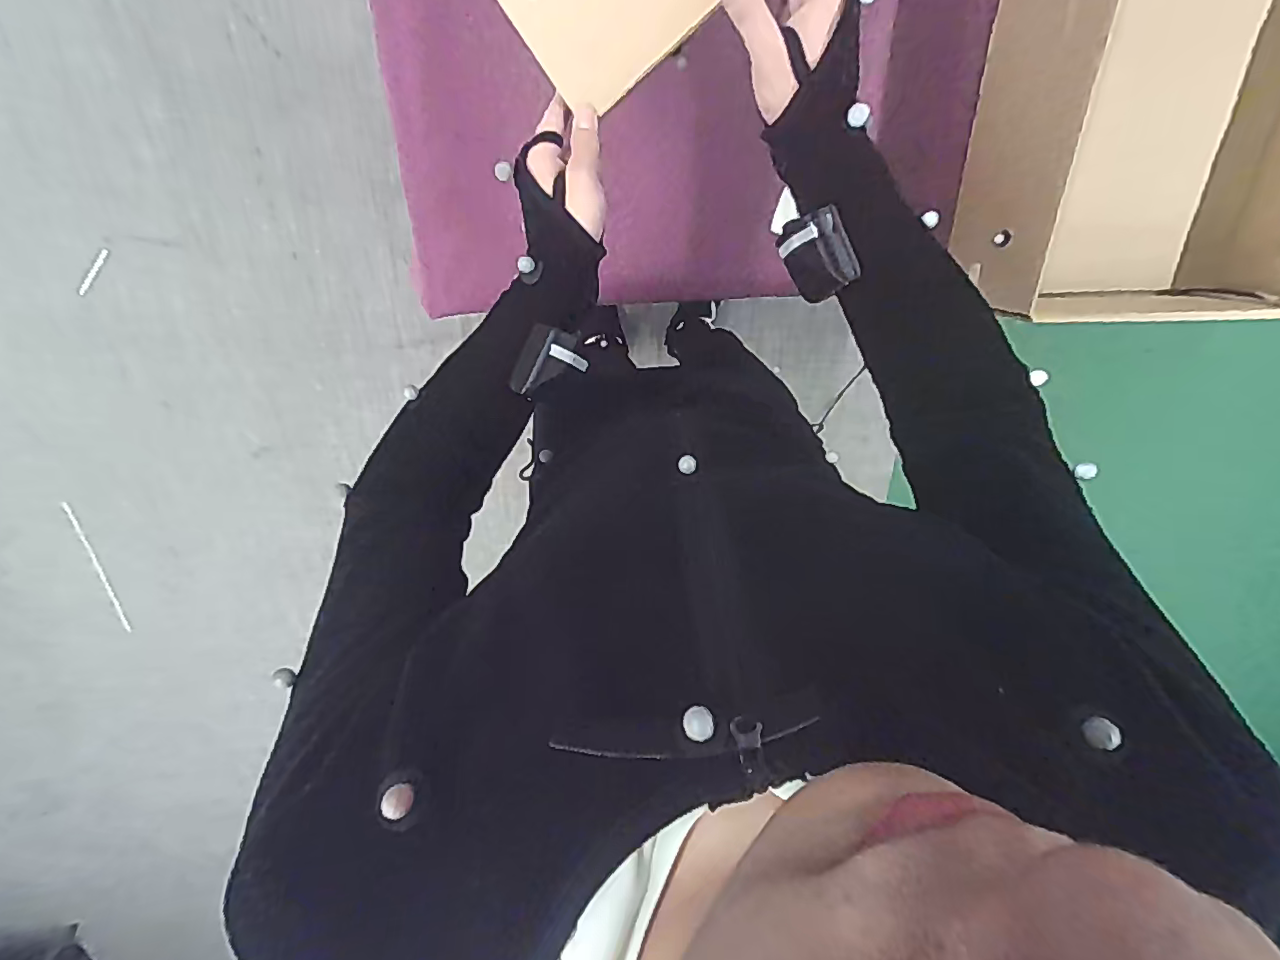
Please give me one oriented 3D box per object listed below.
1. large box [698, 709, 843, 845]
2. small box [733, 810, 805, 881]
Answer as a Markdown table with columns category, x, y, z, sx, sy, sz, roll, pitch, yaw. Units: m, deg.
| category | x | y | z | sx | sy | sz | roll | pitch | yaw |
| --- | --- | --- | --- | --- | --- | --- | --- | --- | --- |
| large box | 0.493 | 1.190 | 2.112 | 0.408 | 0.320 | 0.320 | -33 | 114 | 7 |
| small box | 0.440 | 1.303 | 1.885 | 0.179 | 0.176 | 0.168 | -33 | 113 | 8 |
